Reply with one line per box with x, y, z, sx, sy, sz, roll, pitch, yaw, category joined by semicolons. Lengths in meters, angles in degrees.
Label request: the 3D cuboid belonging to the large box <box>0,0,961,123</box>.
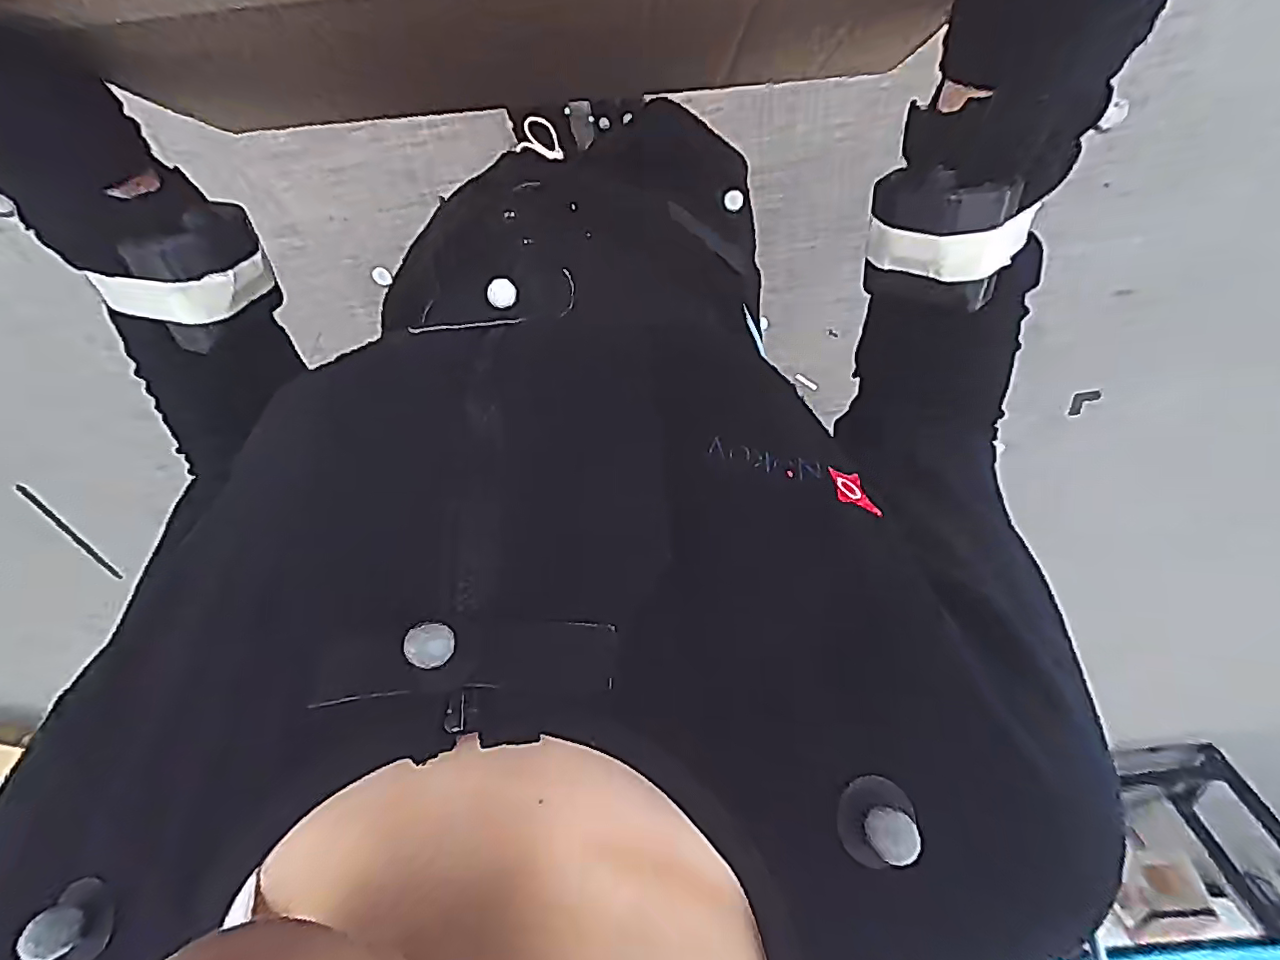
-0.061;-0.332;0.141;0.408;0.320;0.320;-4;109;1;large box
